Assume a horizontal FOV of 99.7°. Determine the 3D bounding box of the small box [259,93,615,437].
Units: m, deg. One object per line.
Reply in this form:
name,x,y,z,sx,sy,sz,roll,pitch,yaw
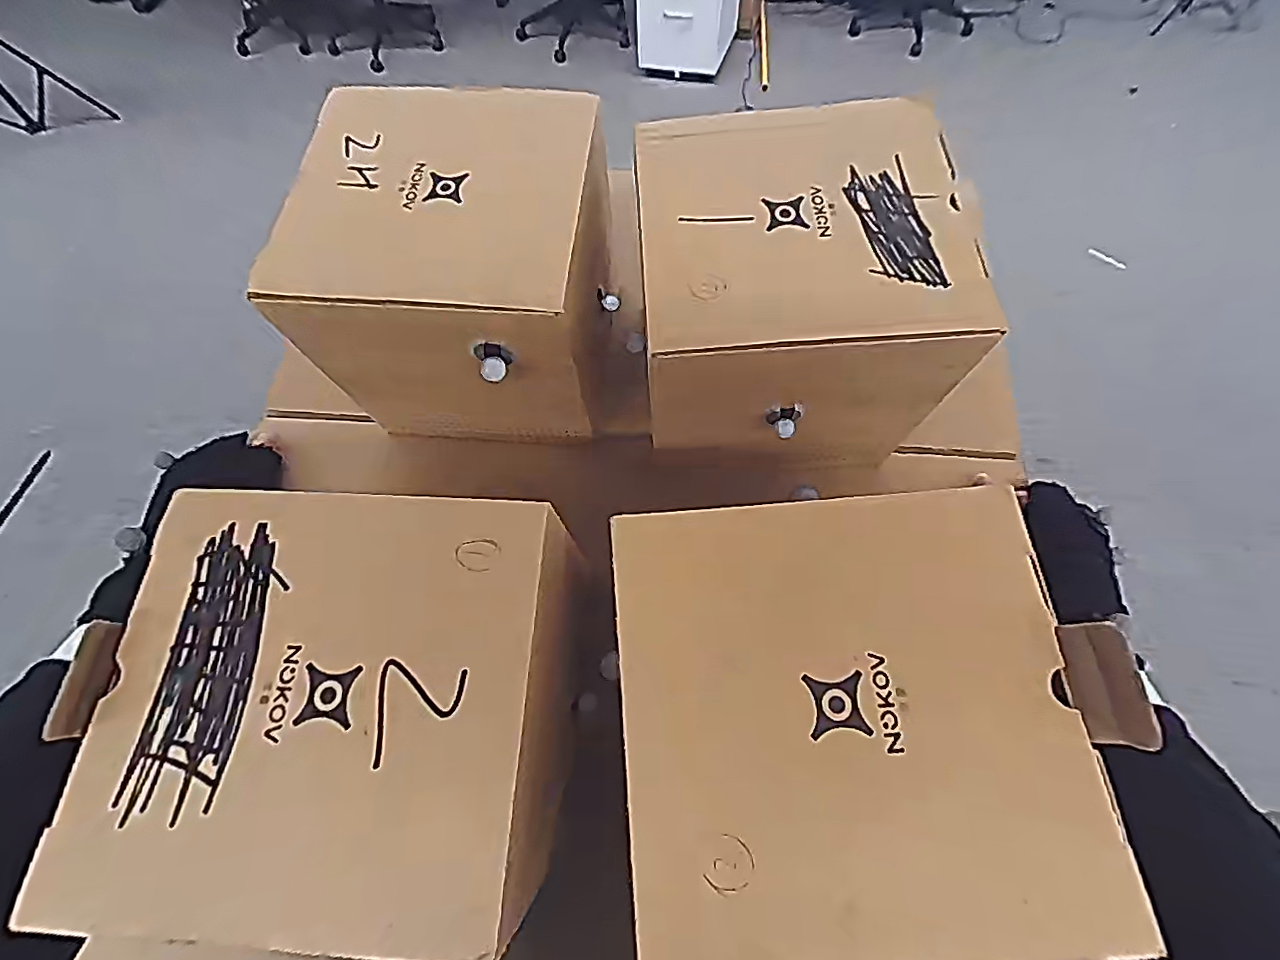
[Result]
small box,-0.117,-0.142,0.399,0.179,0.176,0.168,5,69,5
